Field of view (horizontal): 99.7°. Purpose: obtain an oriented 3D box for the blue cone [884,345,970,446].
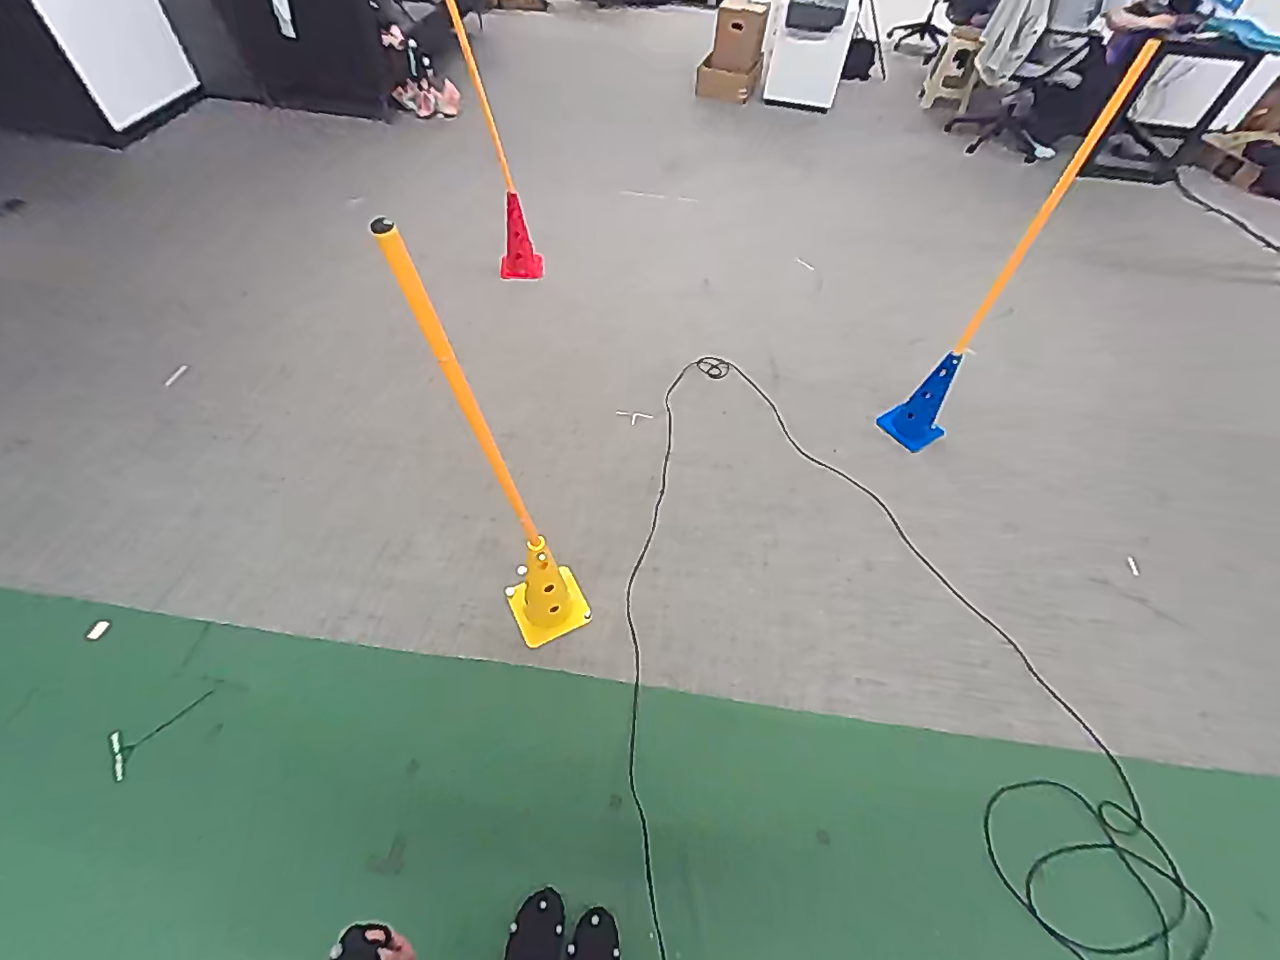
[{"bbox_3d":[1.058,-0.324,1.936,0.193,0.380,0.192,-29,59,-25],"label":"blue cone"}]
